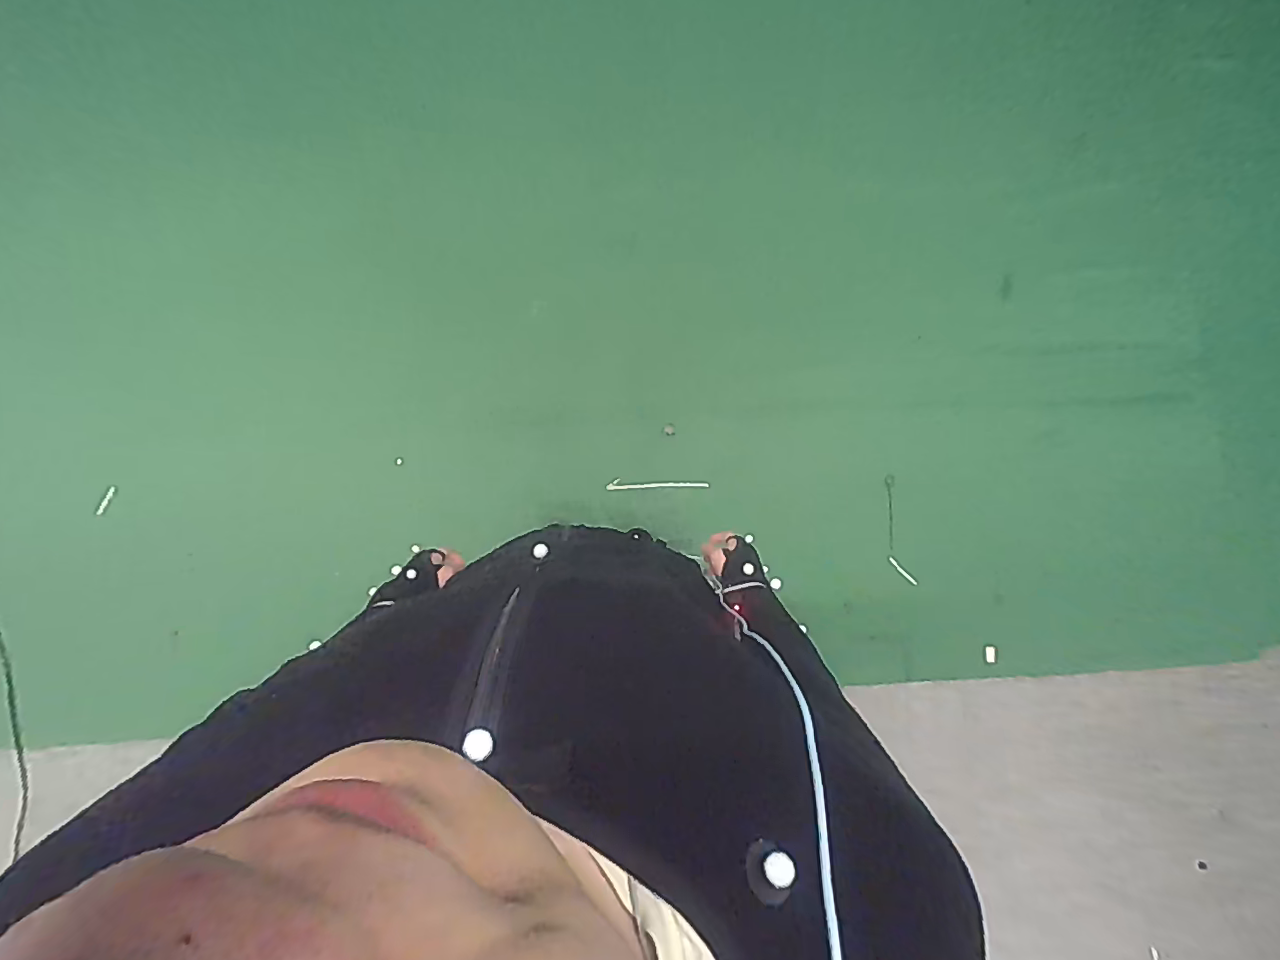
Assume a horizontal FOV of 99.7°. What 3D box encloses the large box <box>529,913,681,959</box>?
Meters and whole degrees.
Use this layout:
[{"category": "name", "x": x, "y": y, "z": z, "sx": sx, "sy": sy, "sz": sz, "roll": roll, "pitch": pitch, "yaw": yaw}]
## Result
[{"category": "large box", "x": -0.082, "y": 1.411, "z": 1.402, "sx": 0.408, "sy": 0.320, "sz": 0.320, "roll": -5, "pitch": 85, "yaw": -4}]
